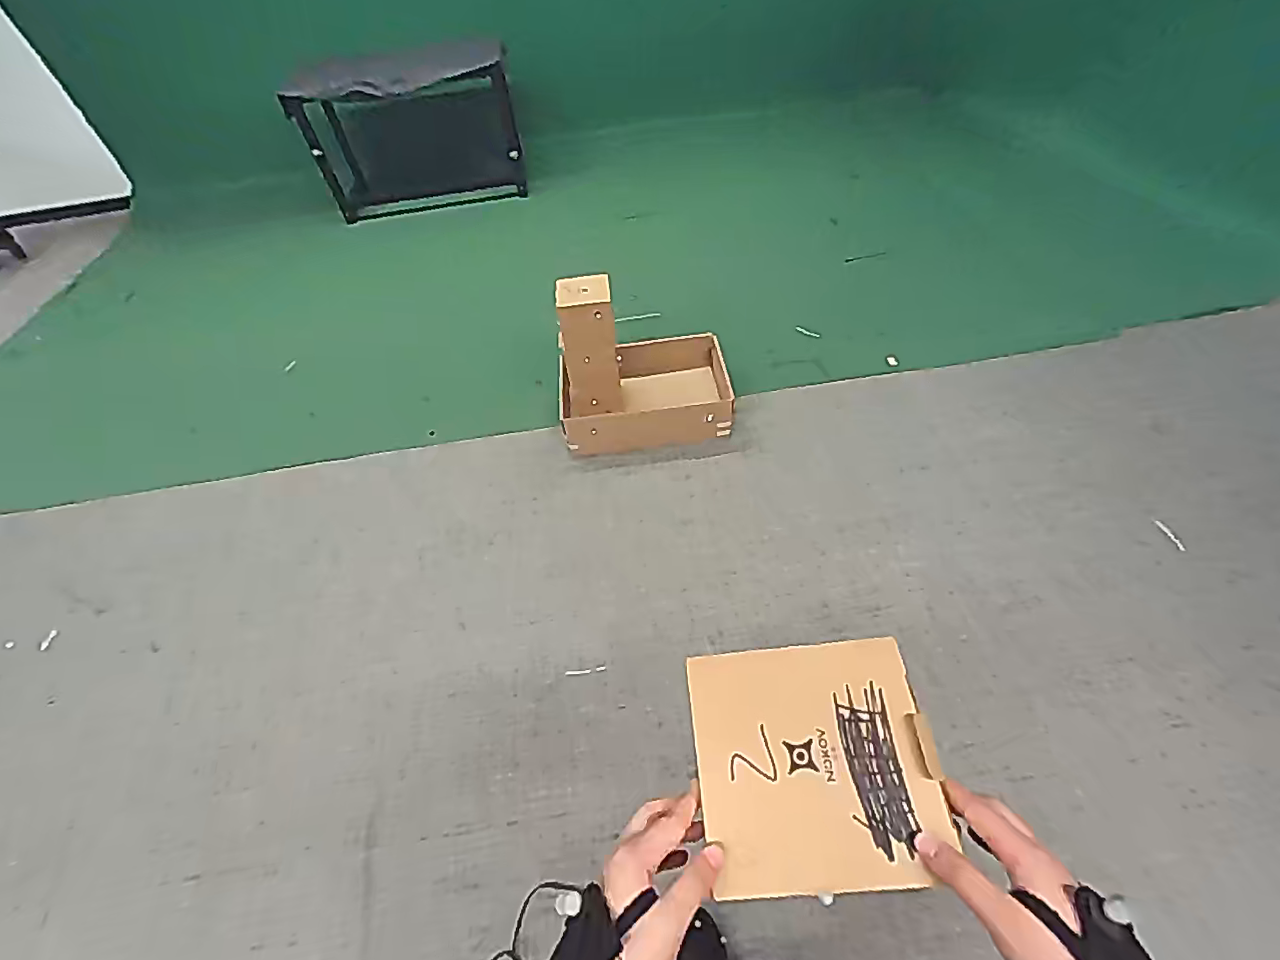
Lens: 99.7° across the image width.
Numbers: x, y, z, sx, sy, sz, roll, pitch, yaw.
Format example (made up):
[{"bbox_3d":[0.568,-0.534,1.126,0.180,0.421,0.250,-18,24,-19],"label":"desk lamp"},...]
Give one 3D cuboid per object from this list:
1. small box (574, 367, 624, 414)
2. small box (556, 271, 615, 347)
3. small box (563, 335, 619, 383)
[{"bbox_3d":[-0.156,-0.366,2.052,0.168,0.176,0.179,-8,52,-1],"label":"small box"},{"bbox_3d":[-0.176,-0.563,1.789,0.179,0.176,0.168,-8,51,0],"label":"small box"},{"bbox_3d":[-0.173,-0.460,1.919,0.179,0.176,0.168,-7,52,-1],"label":"small box"}]
